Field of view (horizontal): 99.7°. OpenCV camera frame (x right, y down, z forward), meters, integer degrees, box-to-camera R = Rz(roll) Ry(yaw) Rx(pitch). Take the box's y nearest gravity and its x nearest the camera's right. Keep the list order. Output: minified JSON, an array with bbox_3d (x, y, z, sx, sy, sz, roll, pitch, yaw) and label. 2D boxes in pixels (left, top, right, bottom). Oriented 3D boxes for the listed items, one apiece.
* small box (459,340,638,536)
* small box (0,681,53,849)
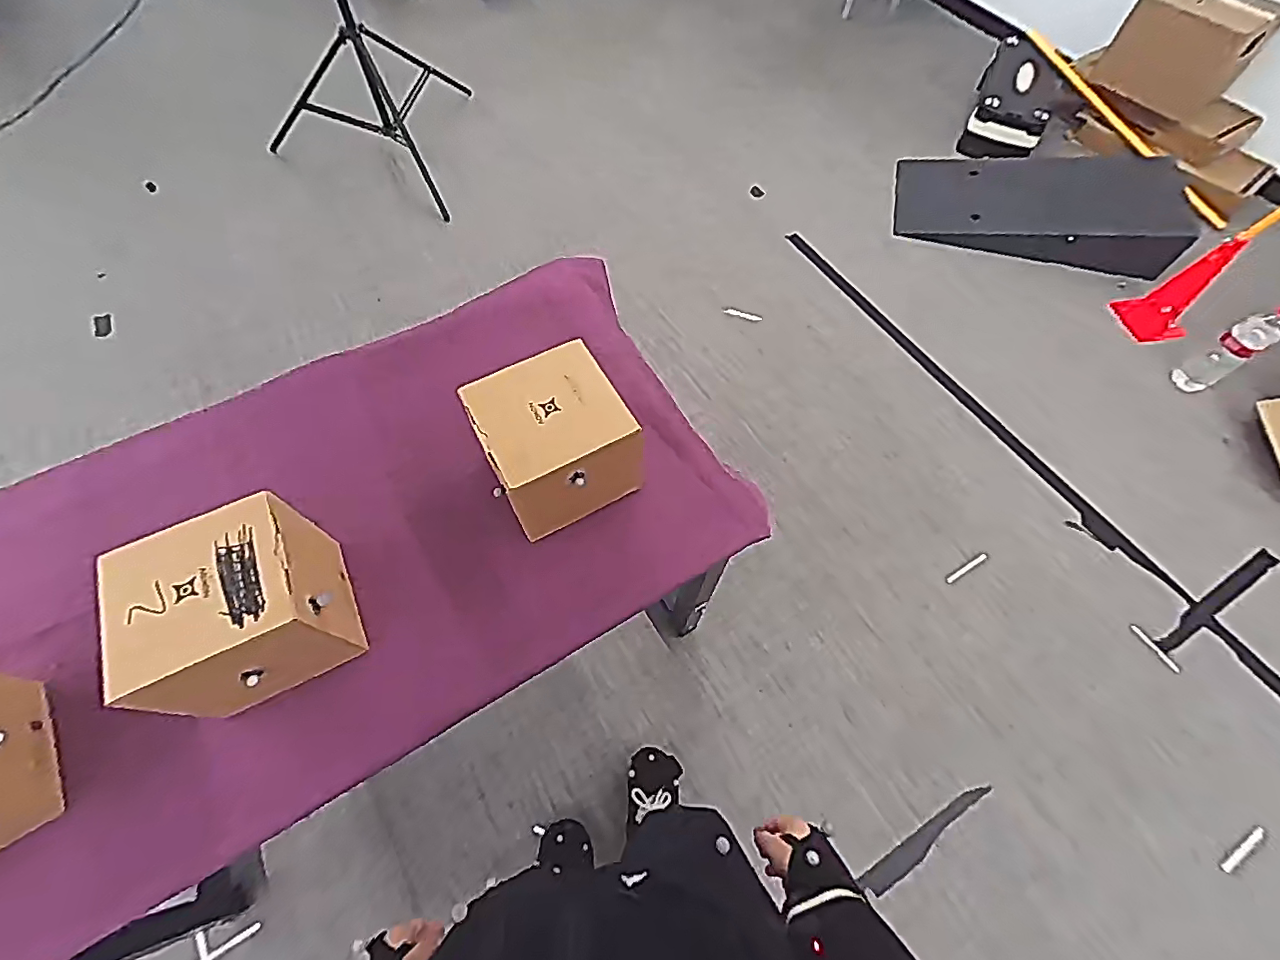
[{"bbox_3d":[-0.115,-0.050,0.736,0.179,0.176,0.168,-27,67,-15],"label":"small box"},{"bbox_3d":[-0.746,0.308,0.533,0.179,0.176,0.168,-31,66,-16],"label":"small box"}]
